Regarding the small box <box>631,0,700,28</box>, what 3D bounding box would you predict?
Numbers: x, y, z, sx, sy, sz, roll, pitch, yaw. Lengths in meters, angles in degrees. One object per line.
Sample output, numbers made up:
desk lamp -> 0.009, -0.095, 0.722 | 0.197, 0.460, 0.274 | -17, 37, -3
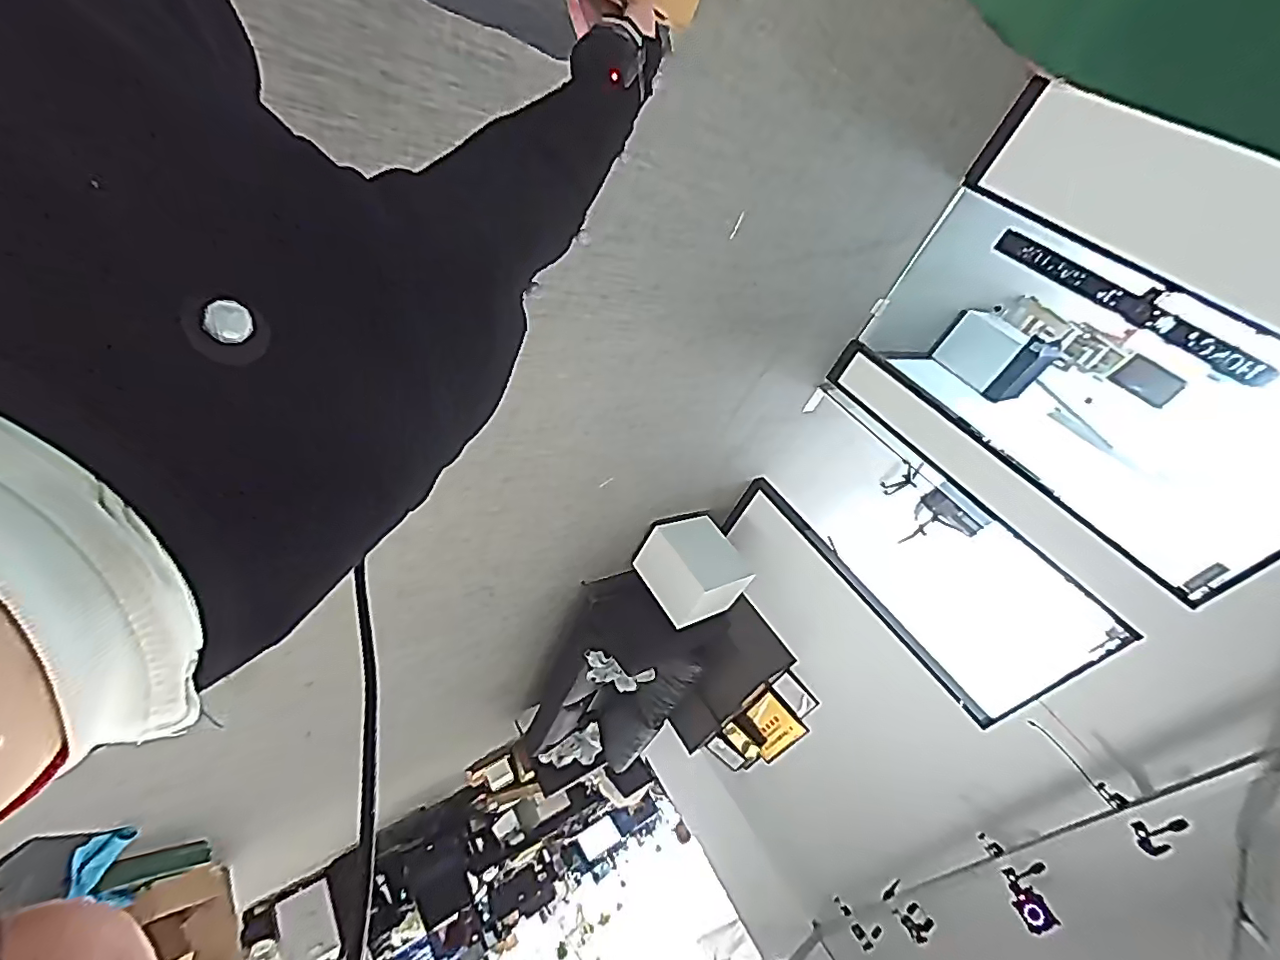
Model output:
small box -> -0.008, -0.634, 0.563 | 0.168, 0.176, 0.179 | -4, 137, -44
